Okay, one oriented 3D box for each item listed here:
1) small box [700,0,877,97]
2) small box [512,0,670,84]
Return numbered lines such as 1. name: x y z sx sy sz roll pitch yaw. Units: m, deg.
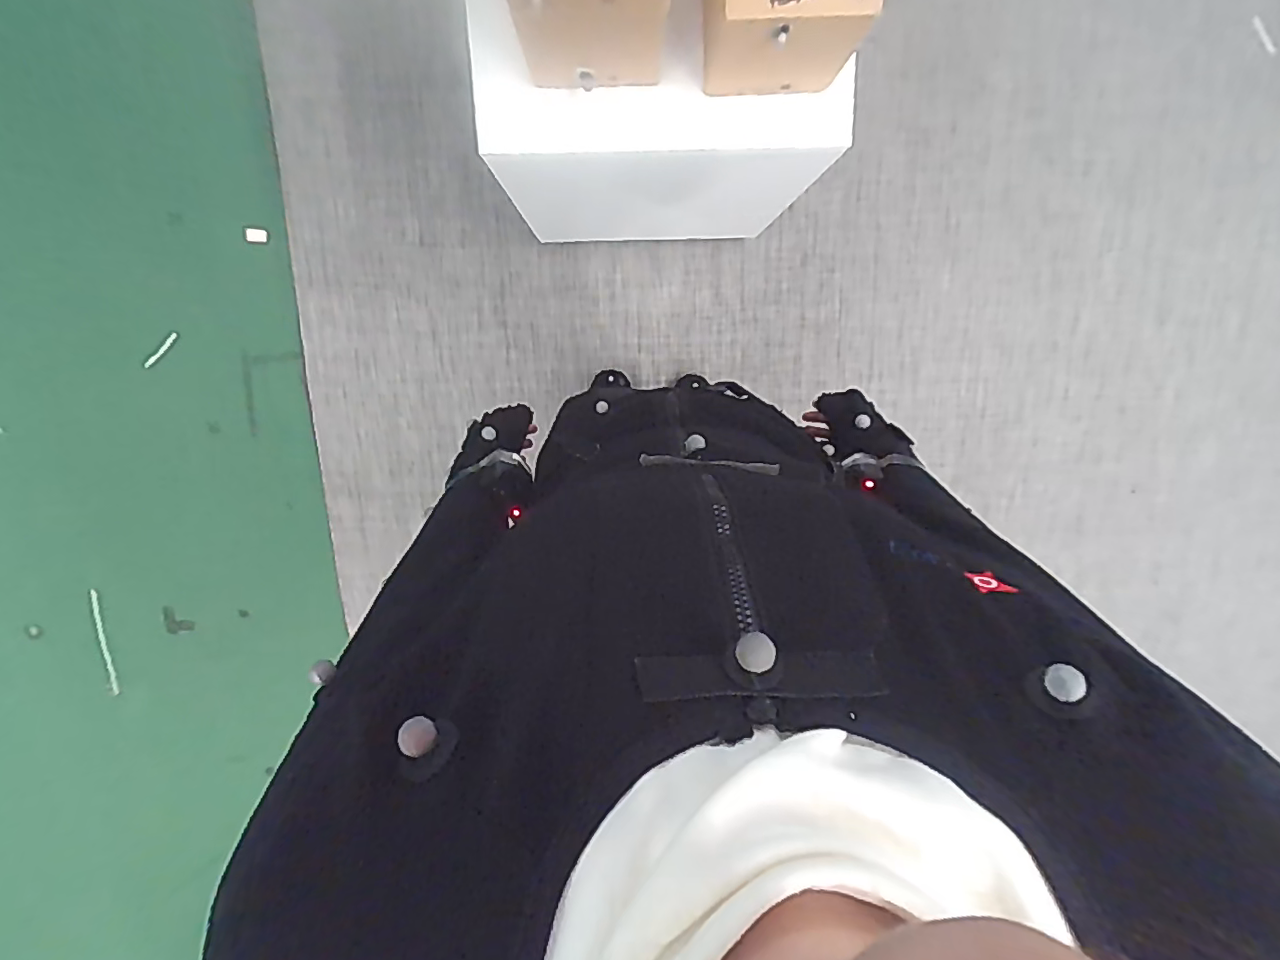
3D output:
1. small box: 0.162 -0.585 0.627 0.168 0.176 0.179 -2 101 -1
2. small box: -0.057 -0.586 0.607 0.168 0.176 0.179 -4 103 0
